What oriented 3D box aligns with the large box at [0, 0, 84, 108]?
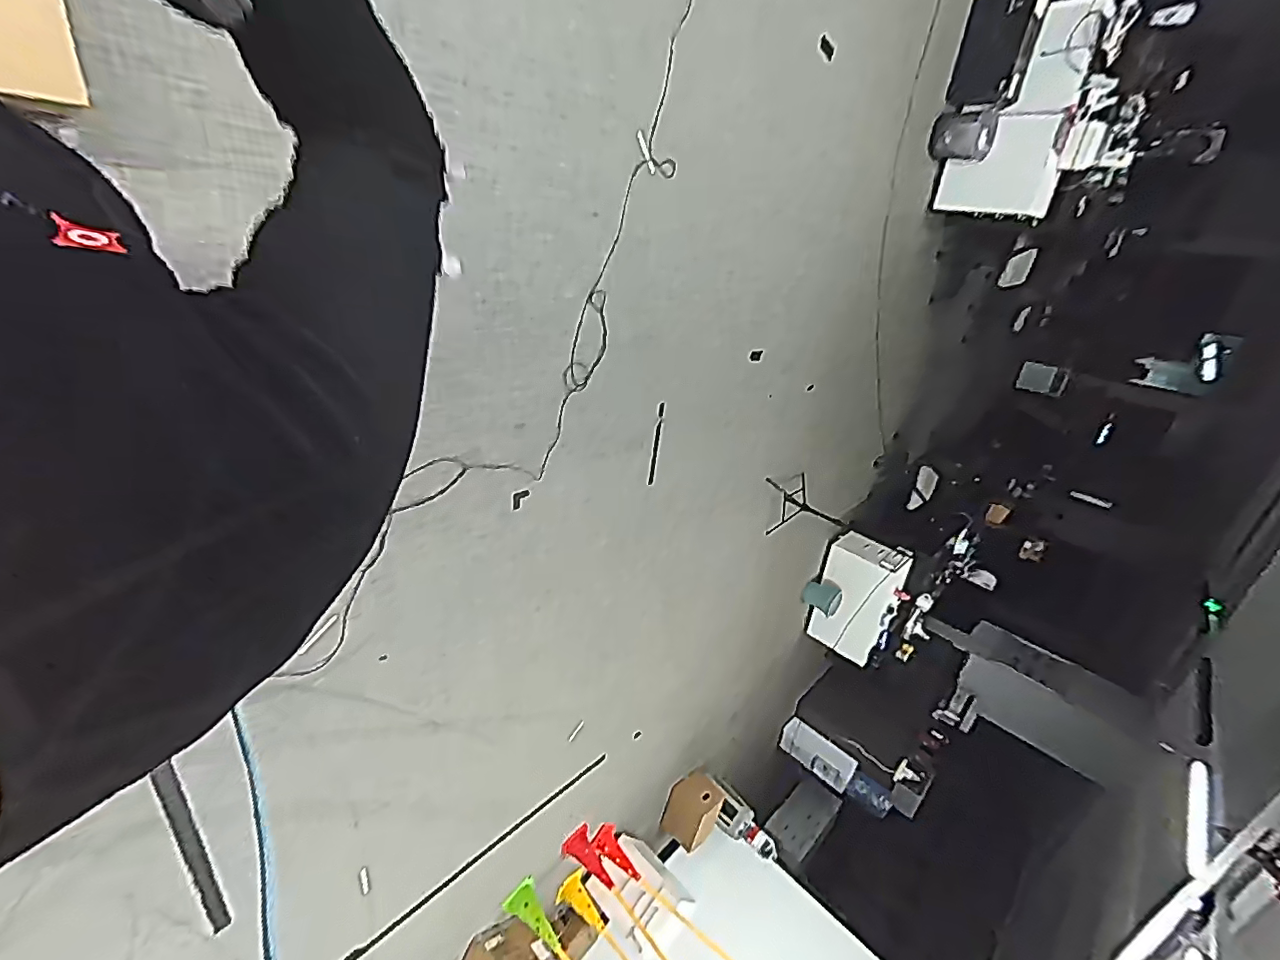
[{"bbox_3d":[-1.007,-0.675,0.646,0.408,0.320,0.320,-20,126,-43],"label":"large box"}]
